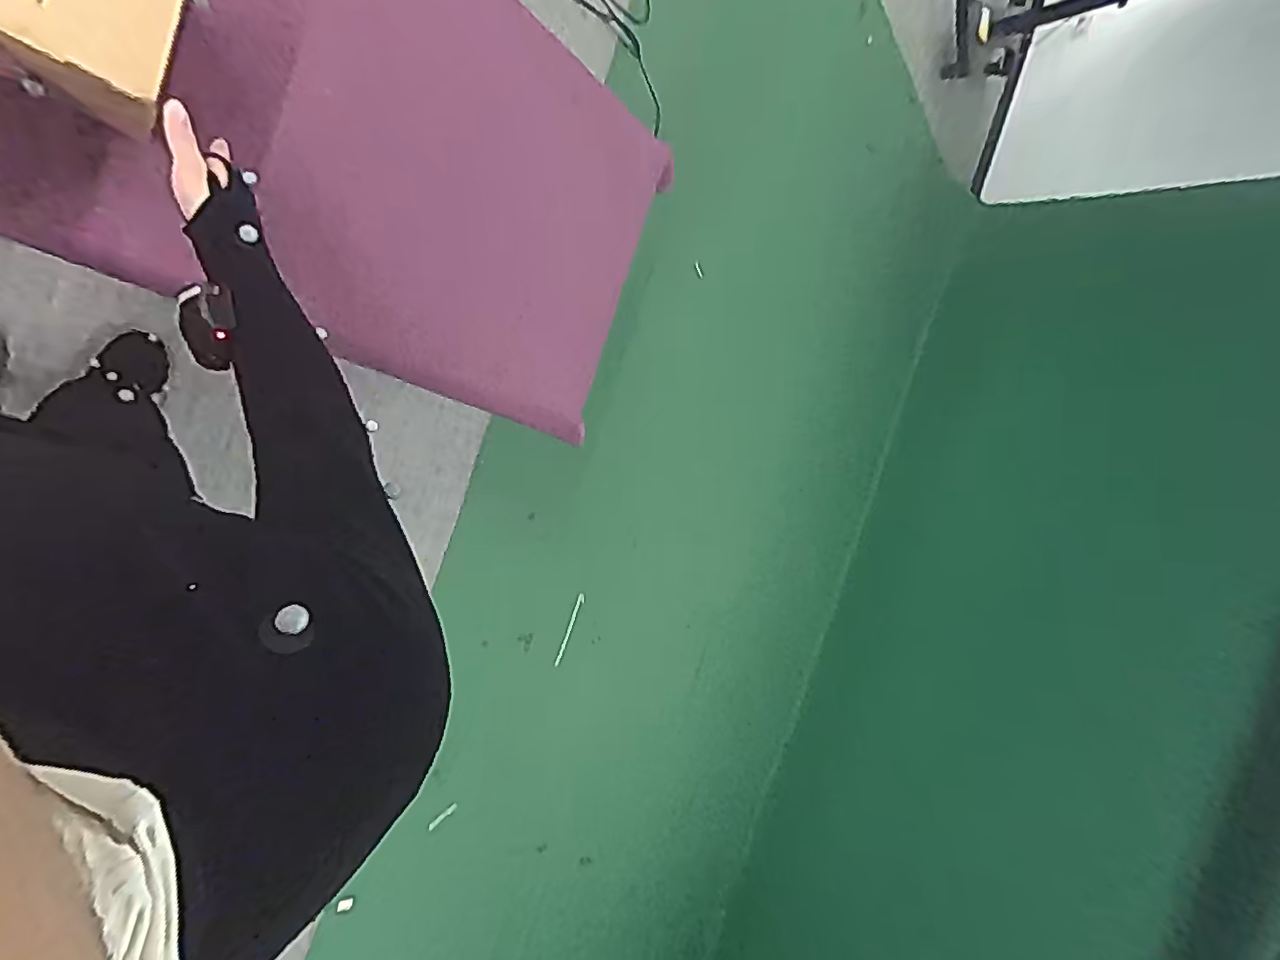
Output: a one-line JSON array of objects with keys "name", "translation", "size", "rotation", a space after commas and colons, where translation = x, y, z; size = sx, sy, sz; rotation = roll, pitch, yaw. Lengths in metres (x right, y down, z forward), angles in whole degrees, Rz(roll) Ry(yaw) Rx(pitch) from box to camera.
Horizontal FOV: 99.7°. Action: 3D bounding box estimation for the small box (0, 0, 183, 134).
[{"name": "small box", "translation": [-0.543, -0.467, 0.502], "size": [0.168, 0.176, 0.179], "rotation": [15, 93, -45]}]
